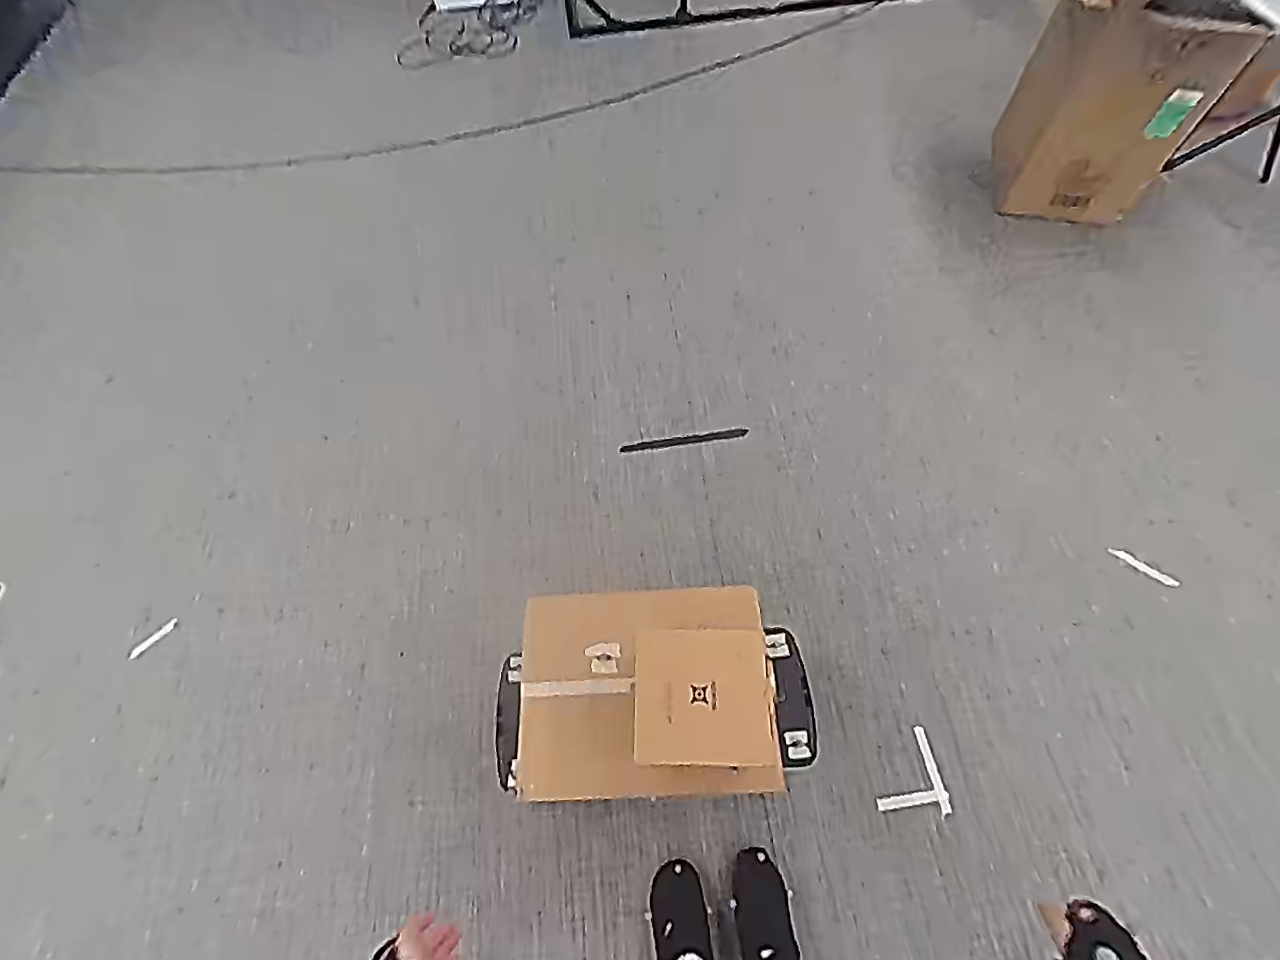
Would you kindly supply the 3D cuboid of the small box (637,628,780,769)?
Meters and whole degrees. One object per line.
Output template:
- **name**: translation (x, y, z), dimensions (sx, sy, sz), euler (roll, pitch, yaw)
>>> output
- **small box**: translation (0.089, 0.308, 0.762), dimensions (0.179, 0.176, 0.168), euler (-1, 64, 4)

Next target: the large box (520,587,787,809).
- **large box**: translation (0.023, 0.402, 0.995), dimensions (0.408, 0.320, 0.320), euler (-4, 62, 2)

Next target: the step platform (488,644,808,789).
- **step platform**: translation (0.017, 0.522, 1.202), dimensions (0.684, 0.204, 0.286), euler (-2, 63, 4)
